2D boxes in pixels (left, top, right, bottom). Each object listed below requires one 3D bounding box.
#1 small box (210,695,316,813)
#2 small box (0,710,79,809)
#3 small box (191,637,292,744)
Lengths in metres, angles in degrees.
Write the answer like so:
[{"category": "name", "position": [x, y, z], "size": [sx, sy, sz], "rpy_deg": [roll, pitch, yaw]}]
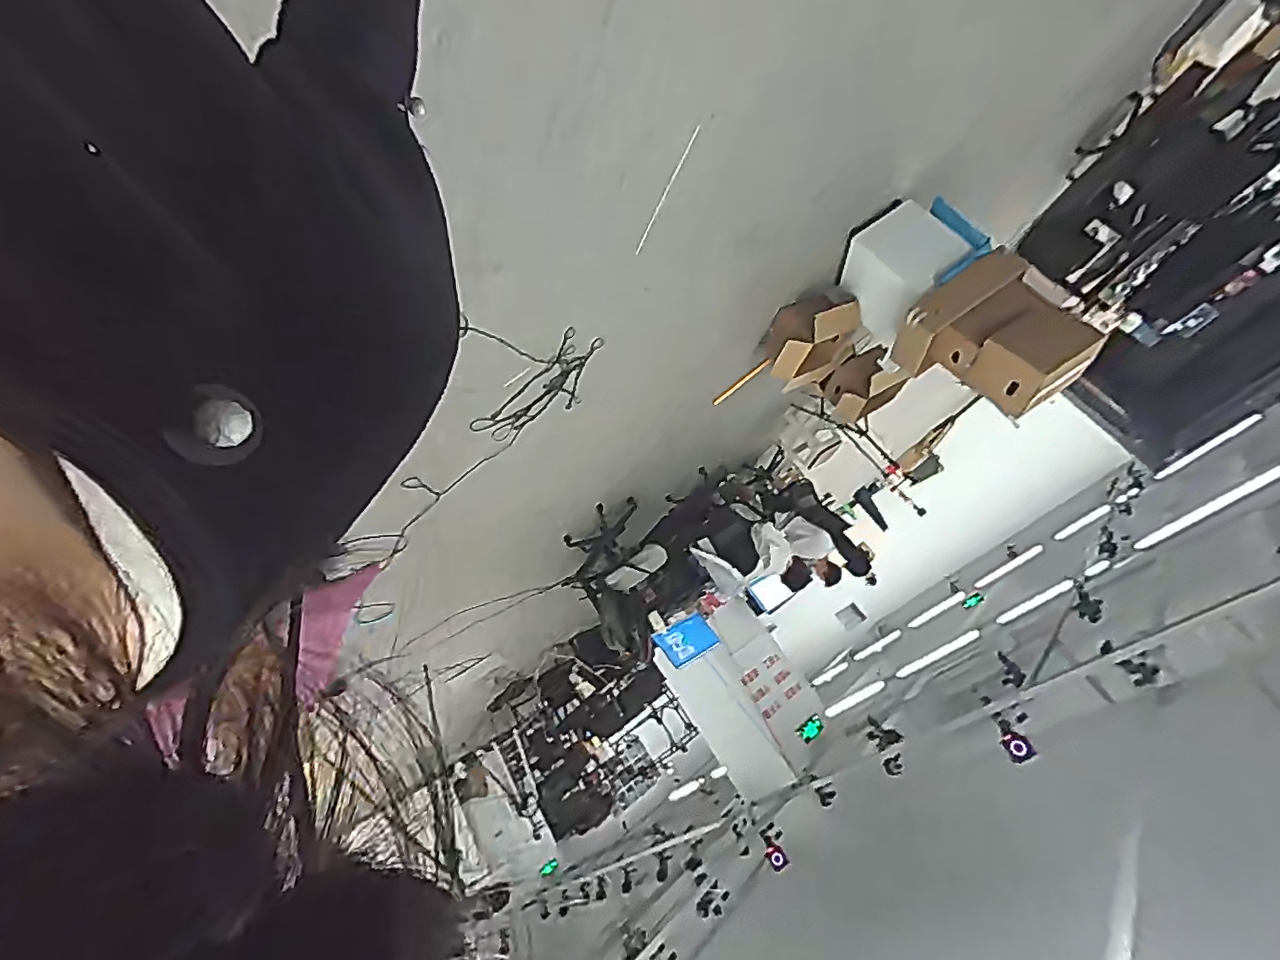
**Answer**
[{"category": "small box", "position": [-0.897, 0.639, 1.282], "size": [0.168, 0.176, 0.179], "rpy_deg": [-14, 150, -46]}, {"category": "small box", "position": [-1.257, 0.585, 1.068], "size": [0.168, 0.176, 0.179], "rpy_deg": [-16, 153, -44]}, {"category": "small box", "position": [-0.992, 0.521, 1.346], "size": [0.168, 0.176, 0.179], "rpy_deg": [-15, 151, -44]}]
